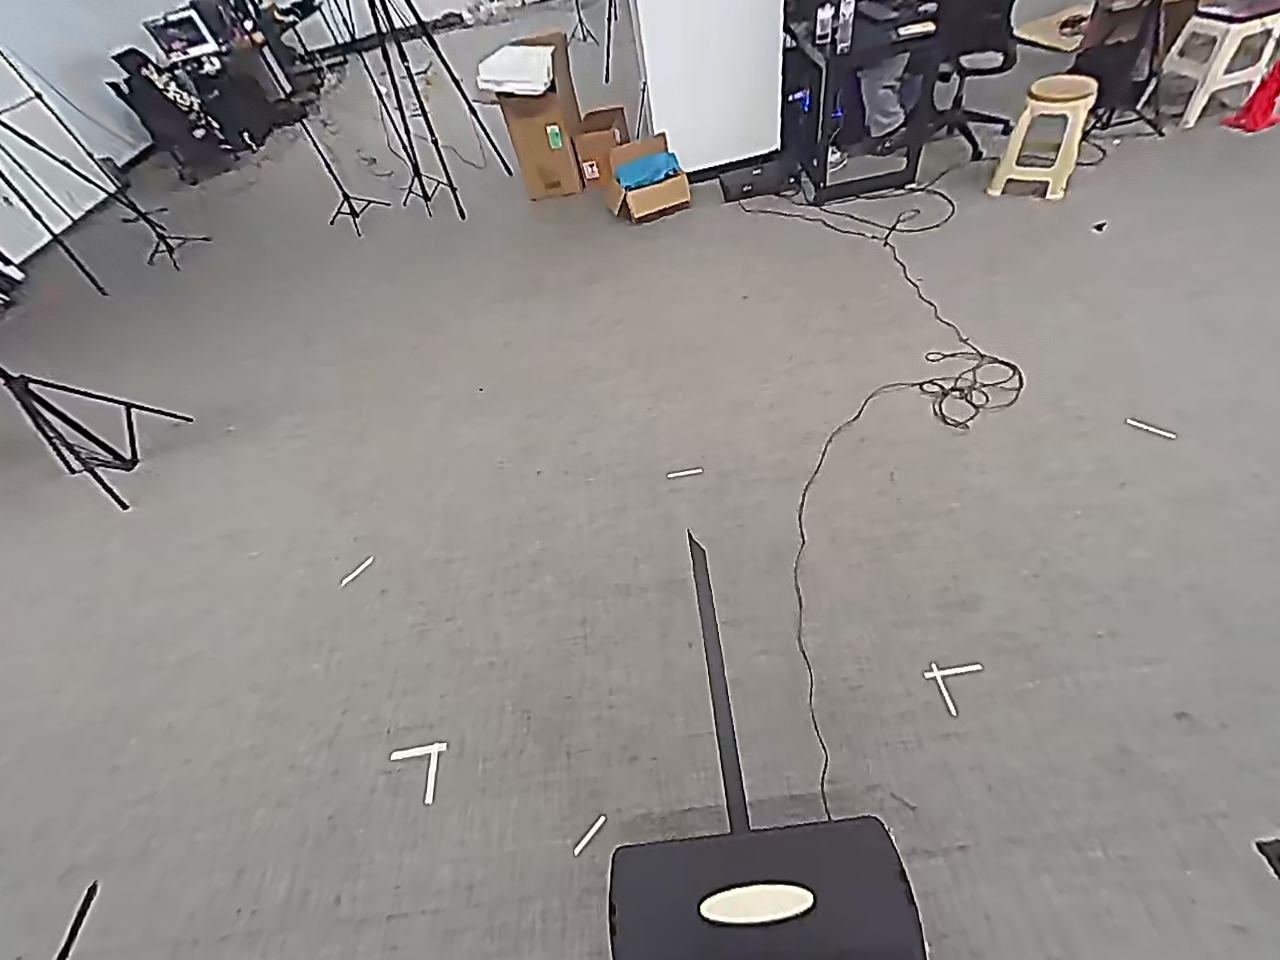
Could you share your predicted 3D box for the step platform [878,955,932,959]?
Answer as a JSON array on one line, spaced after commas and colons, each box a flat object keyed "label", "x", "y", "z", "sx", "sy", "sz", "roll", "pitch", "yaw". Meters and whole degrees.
[{"label": "step platform", "x": 0.286, "y": 1.120, "z": 1.021, "sx": 0.684, "sy": 0.204, "sz": 0.286, "roll": -11, "pitch": 49, "yaw": 5}]
